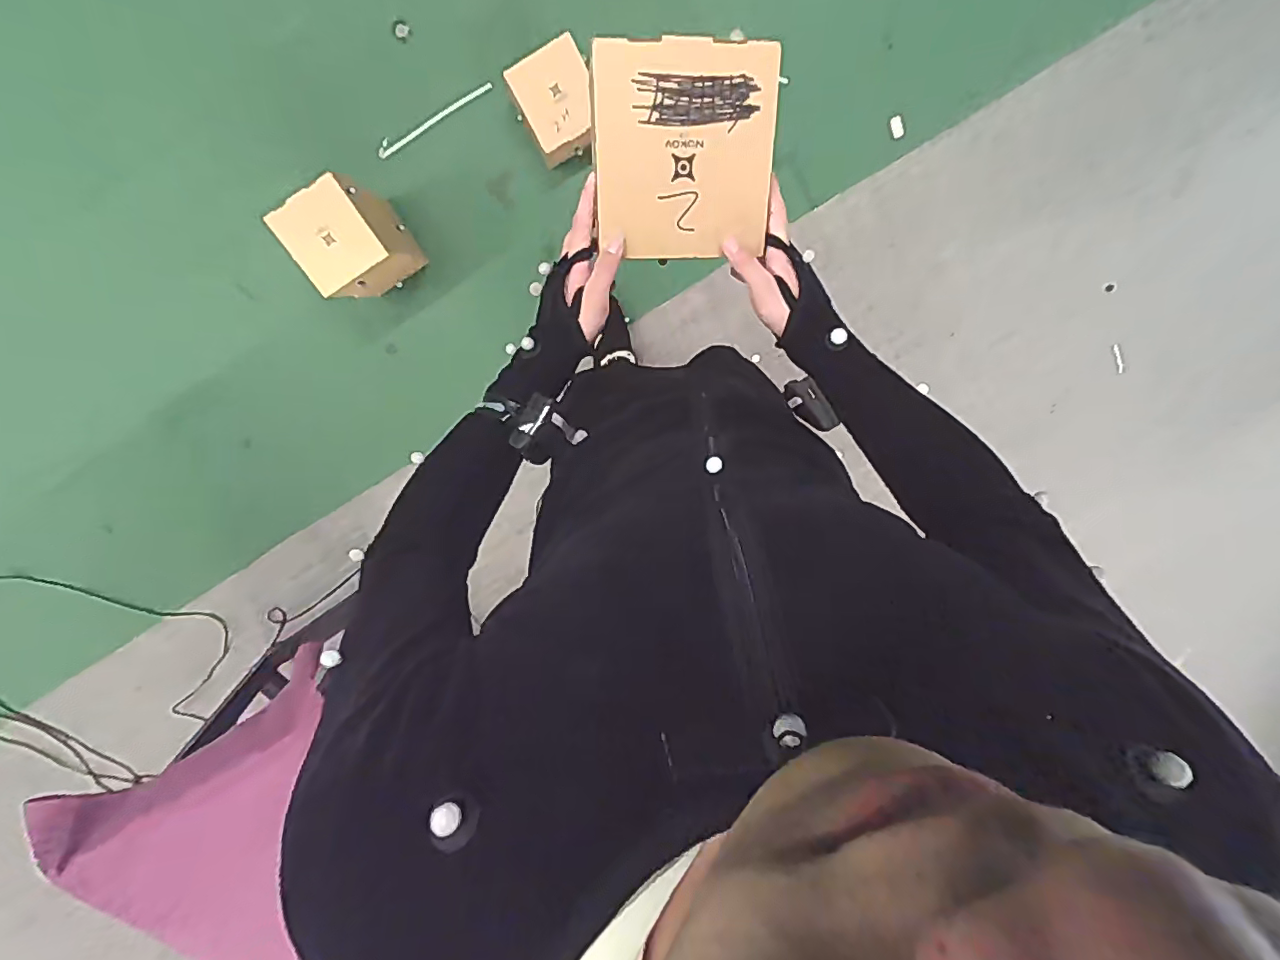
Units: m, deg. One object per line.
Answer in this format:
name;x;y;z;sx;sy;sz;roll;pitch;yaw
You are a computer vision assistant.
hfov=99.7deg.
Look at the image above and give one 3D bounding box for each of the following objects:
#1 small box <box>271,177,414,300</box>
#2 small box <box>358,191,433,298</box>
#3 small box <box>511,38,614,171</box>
small box;-0.617;-0.505;1.152;0.168;0.176;0.179;-31;109;6
small box;-0.635;-0.557;1.304;0.168;0.176;0.179;-30;110;6
small box;-0.176;-0.853;1.248;0.168;0.176;0.179;-29;110;4
